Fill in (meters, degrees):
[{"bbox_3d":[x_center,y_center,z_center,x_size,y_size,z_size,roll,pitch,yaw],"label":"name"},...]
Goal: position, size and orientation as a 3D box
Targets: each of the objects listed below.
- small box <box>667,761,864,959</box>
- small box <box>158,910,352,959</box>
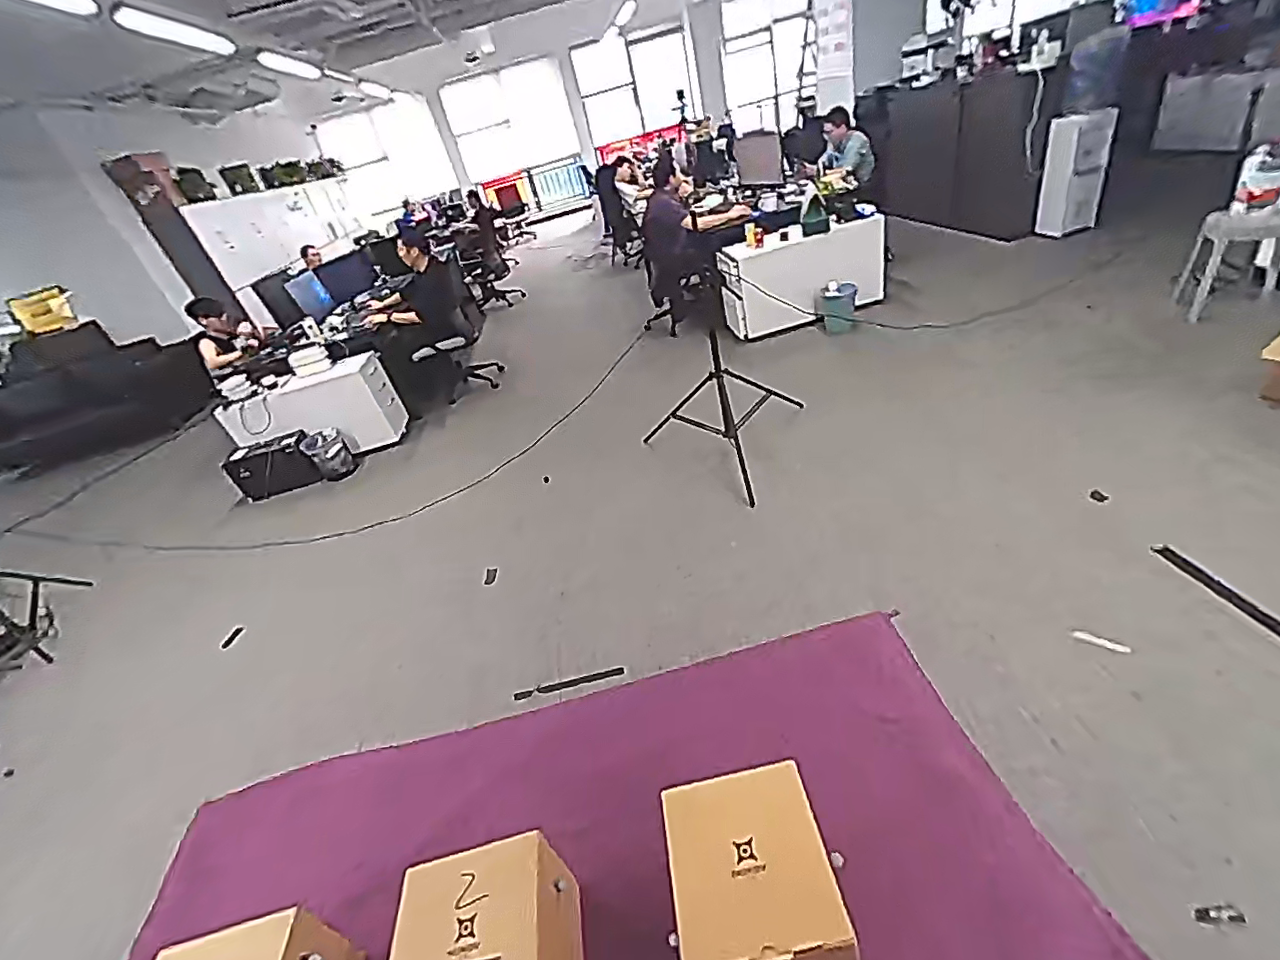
[{"bbox_3d":[0.135,0.459,0.608,0.168,0.176,0.179,-15,32,3],"label":"small box"},{"bbox_3d":[-0.442,0.633,0.600,0.168,0.176,0.179,-17,33,-3],"label":"small box"}]
